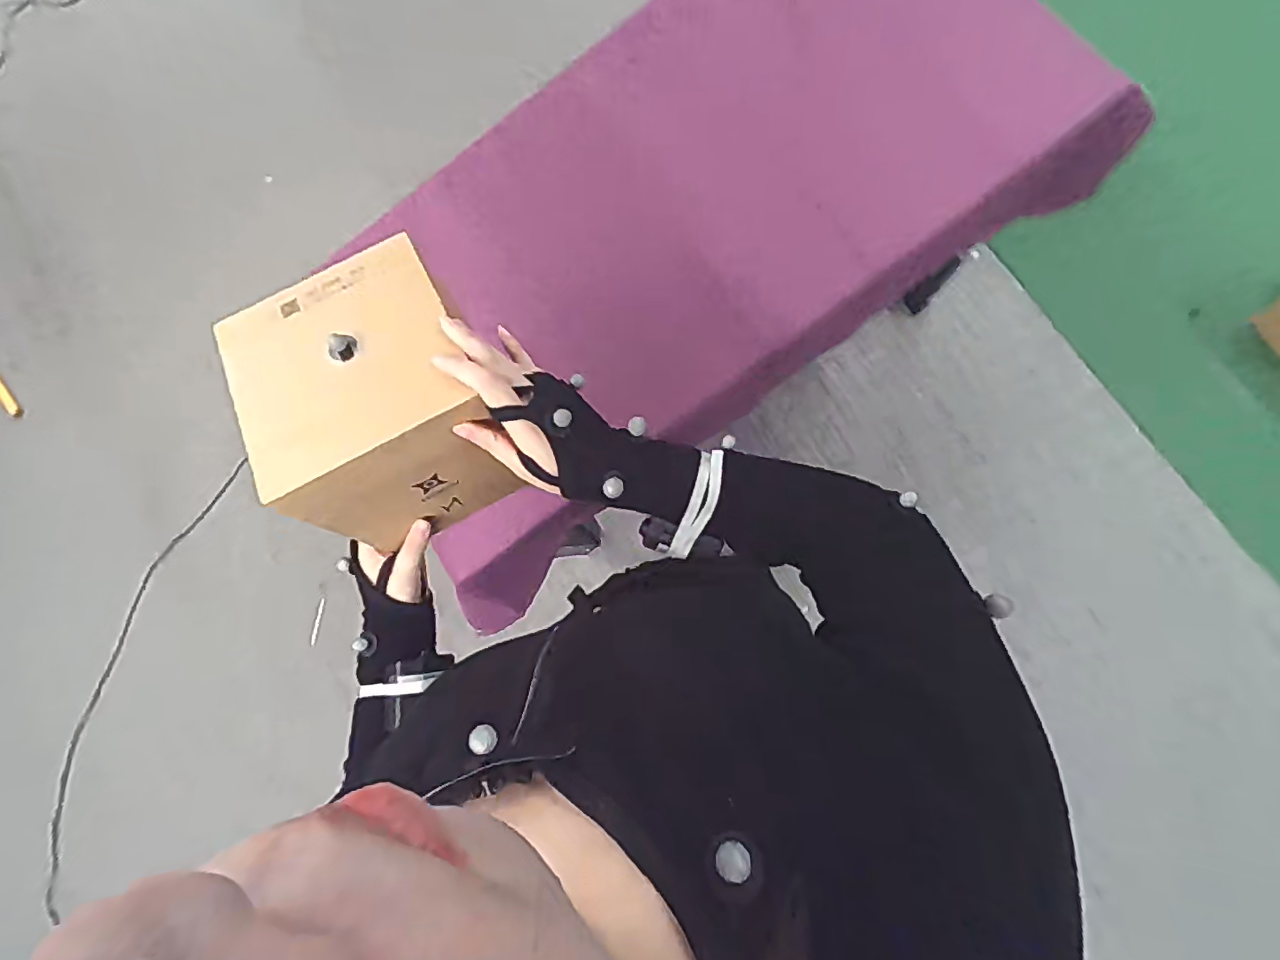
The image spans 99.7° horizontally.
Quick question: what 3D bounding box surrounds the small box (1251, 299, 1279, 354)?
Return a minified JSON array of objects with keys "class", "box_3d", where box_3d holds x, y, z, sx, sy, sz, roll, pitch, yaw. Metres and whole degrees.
[{"class":"small box","box_3d":[1.596,-0.377,1.232,0.168,0.176,0.179,-31,79,5]}]
